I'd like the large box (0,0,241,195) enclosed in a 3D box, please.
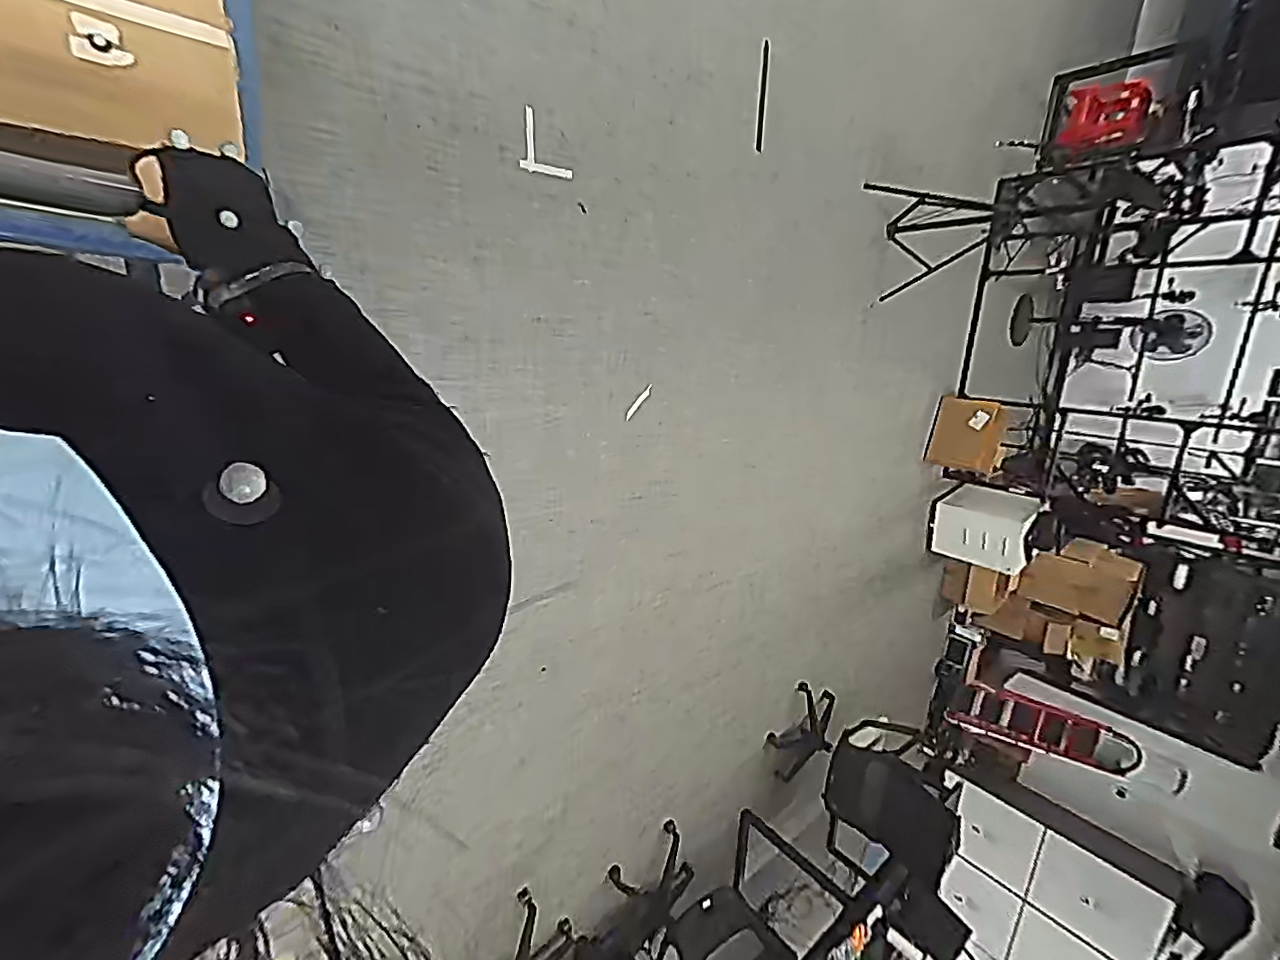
[{"bbox_3d":[-0.827,-0.613,0.731,0.408,0.320,0.320,-11,110,-41],"label":"large box"}]
